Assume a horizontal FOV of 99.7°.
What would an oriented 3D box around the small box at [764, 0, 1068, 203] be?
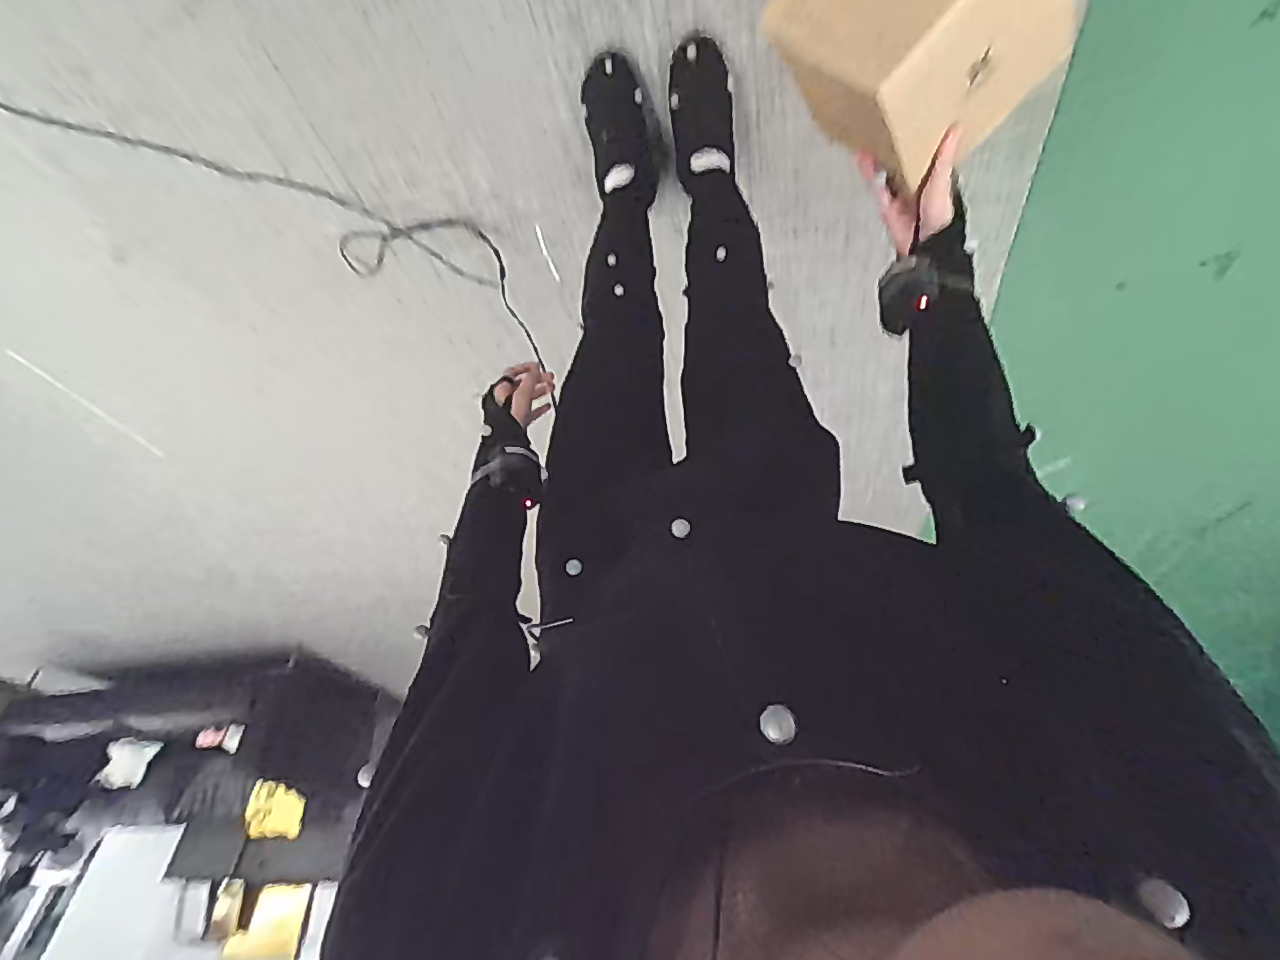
[{"bbox_3d":[0.244,-0.404,0.493,0.168,0.176,0.179,-46,151,24],"label":"small box"}]
